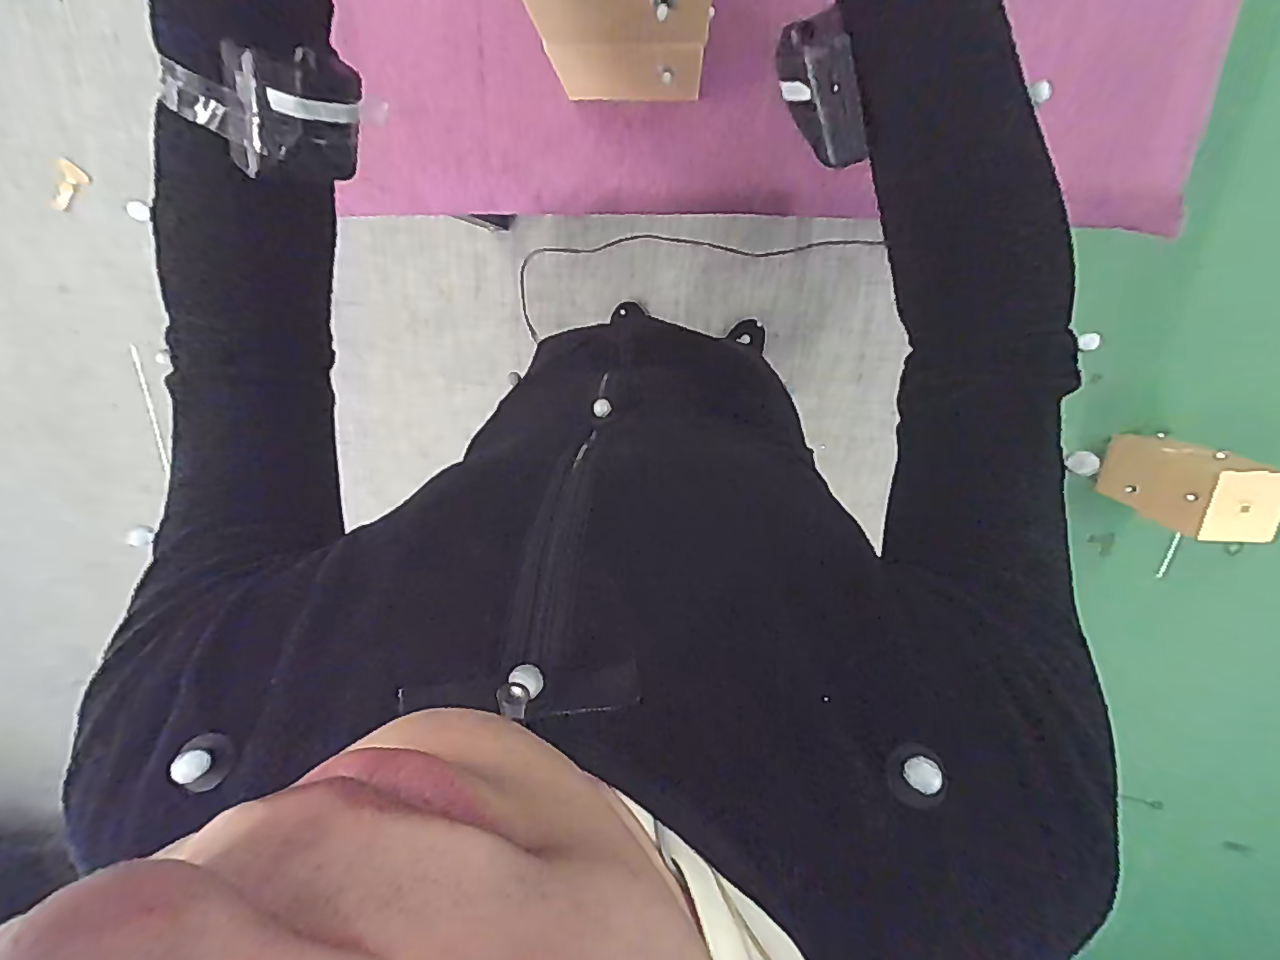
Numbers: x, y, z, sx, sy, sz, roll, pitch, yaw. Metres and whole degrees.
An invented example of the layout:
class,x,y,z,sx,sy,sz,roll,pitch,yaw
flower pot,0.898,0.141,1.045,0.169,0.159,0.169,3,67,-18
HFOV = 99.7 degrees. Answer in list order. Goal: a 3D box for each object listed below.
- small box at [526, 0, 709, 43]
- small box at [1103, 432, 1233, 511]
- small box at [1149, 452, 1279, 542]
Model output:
class,x,y,z,sx,sy,sz,roll,pitch,yaw
small box,-0.020,-0.516,0.472,0.179,0.176,0.168,2,108,4
small box,1.416,-0.022,1.468,0.168,0.176,0.179,3,109,3
small box,1.407,0.036,1.317,0.168,0.176,0.179,1,107,4
